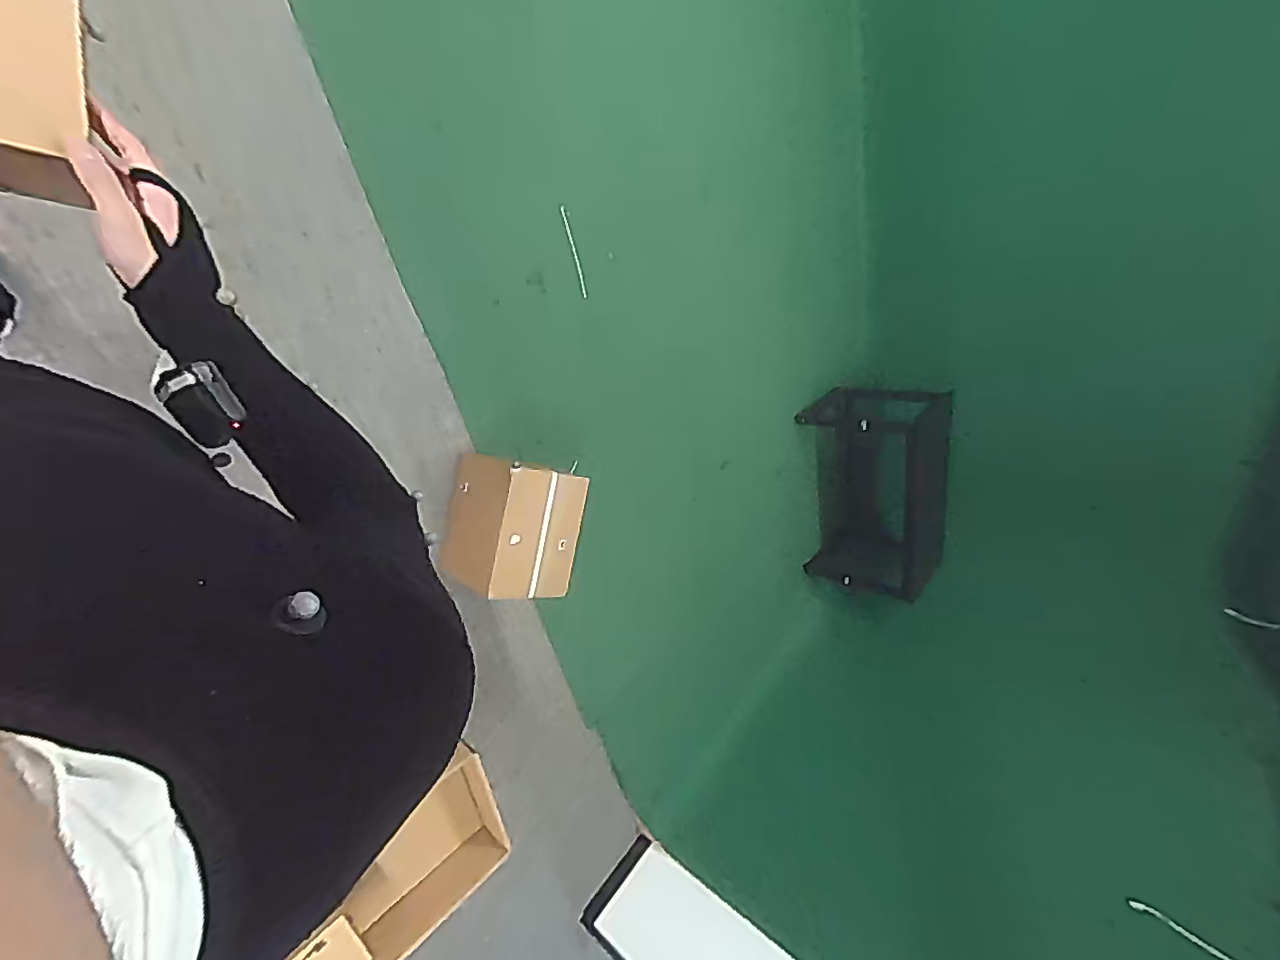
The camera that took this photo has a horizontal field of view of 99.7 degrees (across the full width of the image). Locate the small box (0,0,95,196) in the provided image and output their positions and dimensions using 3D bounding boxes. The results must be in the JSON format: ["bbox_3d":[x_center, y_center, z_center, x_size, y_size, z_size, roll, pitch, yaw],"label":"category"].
[{"bbox_3d":[-0.535,-0.346,0.409,0.168,0.176,0.179,-4,102,-43],"label":"small box"}]

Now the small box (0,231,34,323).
[{"bbox_3d":[-1.222,-0.388,0.936,0.179,0.176,0.168,25,84,-40],"label":"small box"}]
